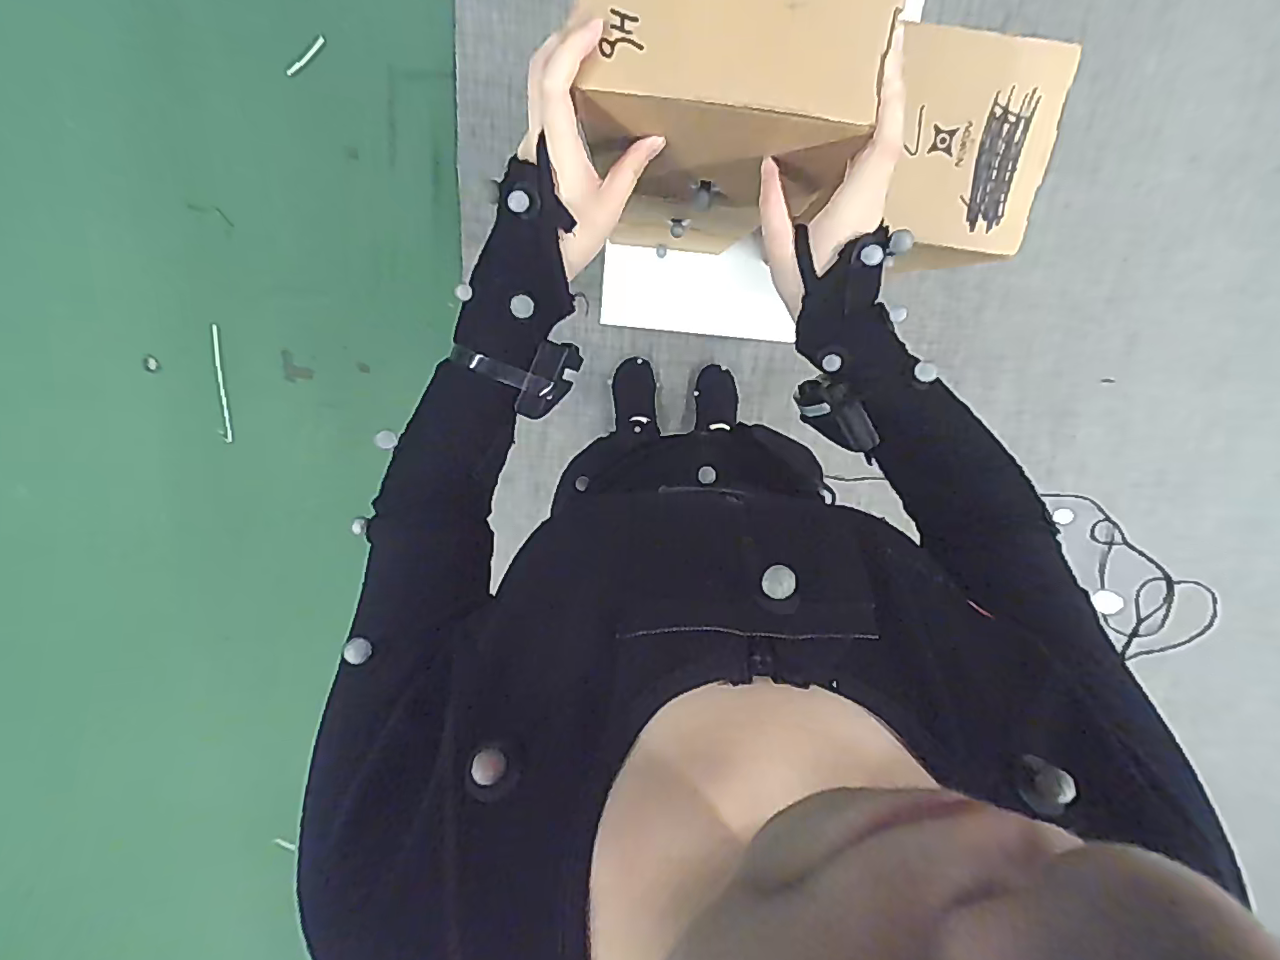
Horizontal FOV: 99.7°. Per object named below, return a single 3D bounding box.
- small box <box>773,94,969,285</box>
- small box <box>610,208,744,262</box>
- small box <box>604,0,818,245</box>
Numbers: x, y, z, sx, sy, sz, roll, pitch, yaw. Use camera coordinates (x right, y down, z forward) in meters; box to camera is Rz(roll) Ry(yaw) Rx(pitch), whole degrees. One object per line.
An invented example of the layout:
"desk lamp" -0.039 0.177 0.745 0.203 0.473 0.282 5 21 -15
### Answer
"small box" 0.282 -0.362 0.707 0.168 0.176 0.179 8 106 0
"small box" 0.052 -0.391 0.700 0.168 0.176 0.179 6 107 -2
"small box" 0.057 -0.350 0.541 0.168 0.176 0.179 7 106 -2
